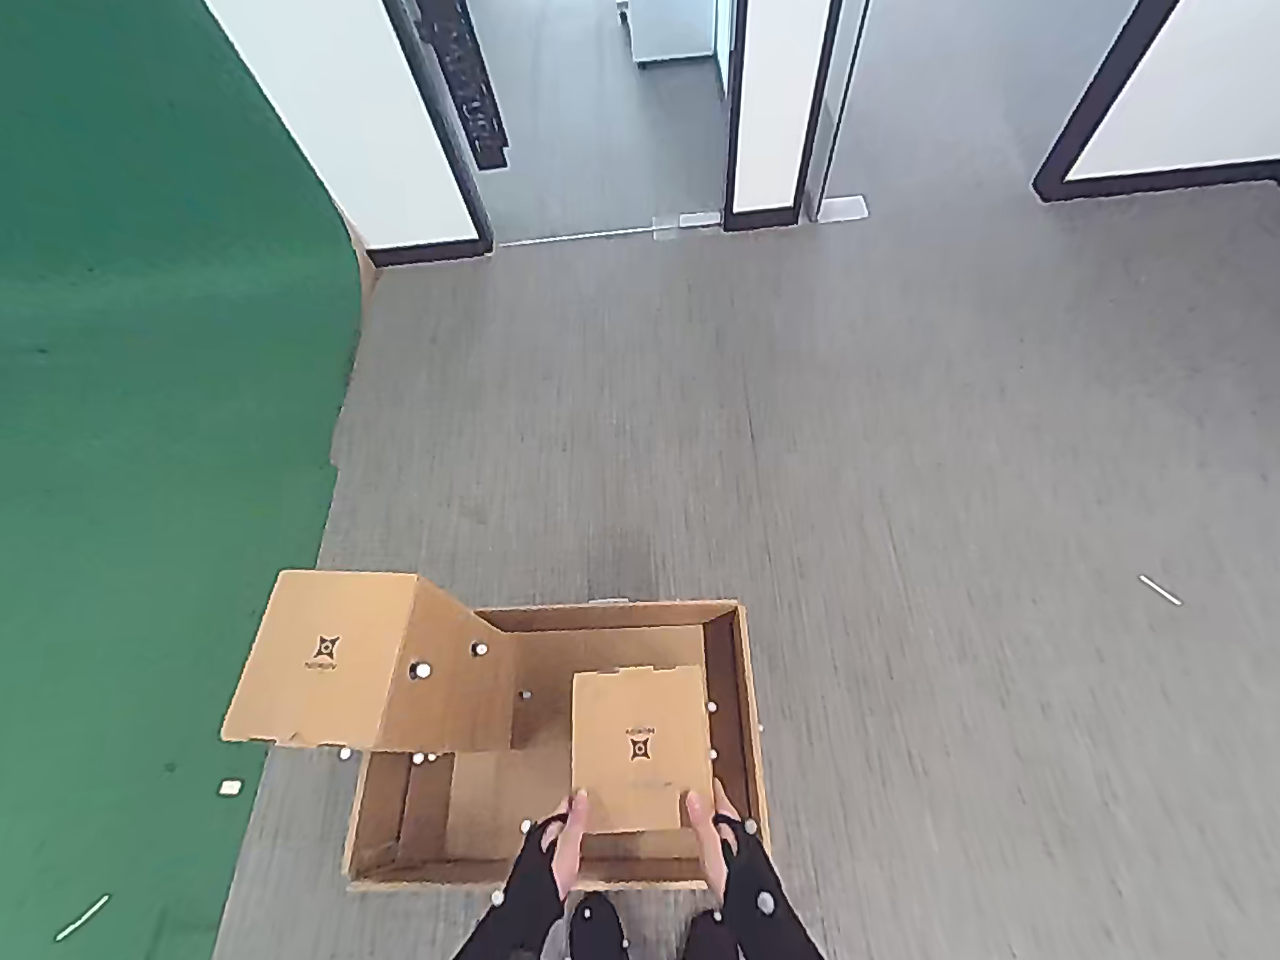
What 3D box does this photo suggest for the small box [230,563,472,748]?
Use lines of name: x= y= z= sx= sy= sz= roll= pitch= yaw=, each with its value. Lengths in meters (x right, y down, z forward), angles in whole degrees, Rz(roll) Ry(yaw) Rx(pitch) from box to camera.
small box: x=-0.314 y=0.210 z=0.634 sx=0.168 sy=0.176 sz=0.179 roll=1 pitch=64 yaw=6

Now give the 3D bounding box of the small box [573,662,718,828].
small box: x=0.009 y=0.349 z=0.714 sx=0.168 sy=0.176 sz=0.179 roll=-5 pitch=62 yaw=4

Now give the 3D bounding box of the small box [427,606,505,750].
small box: x=-0.305 y=0.286 z=0.778 sx=0.168 sy=0.176 sz=0.179 roll=0 pitch=63 yaw=6

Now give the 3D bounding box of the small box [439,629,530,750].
small box: x=-0.292 y=0.360 z=0.923 sx=0.168 sy=0.176 sz=0.179 roll=-1 pitch=63 yaw=4
